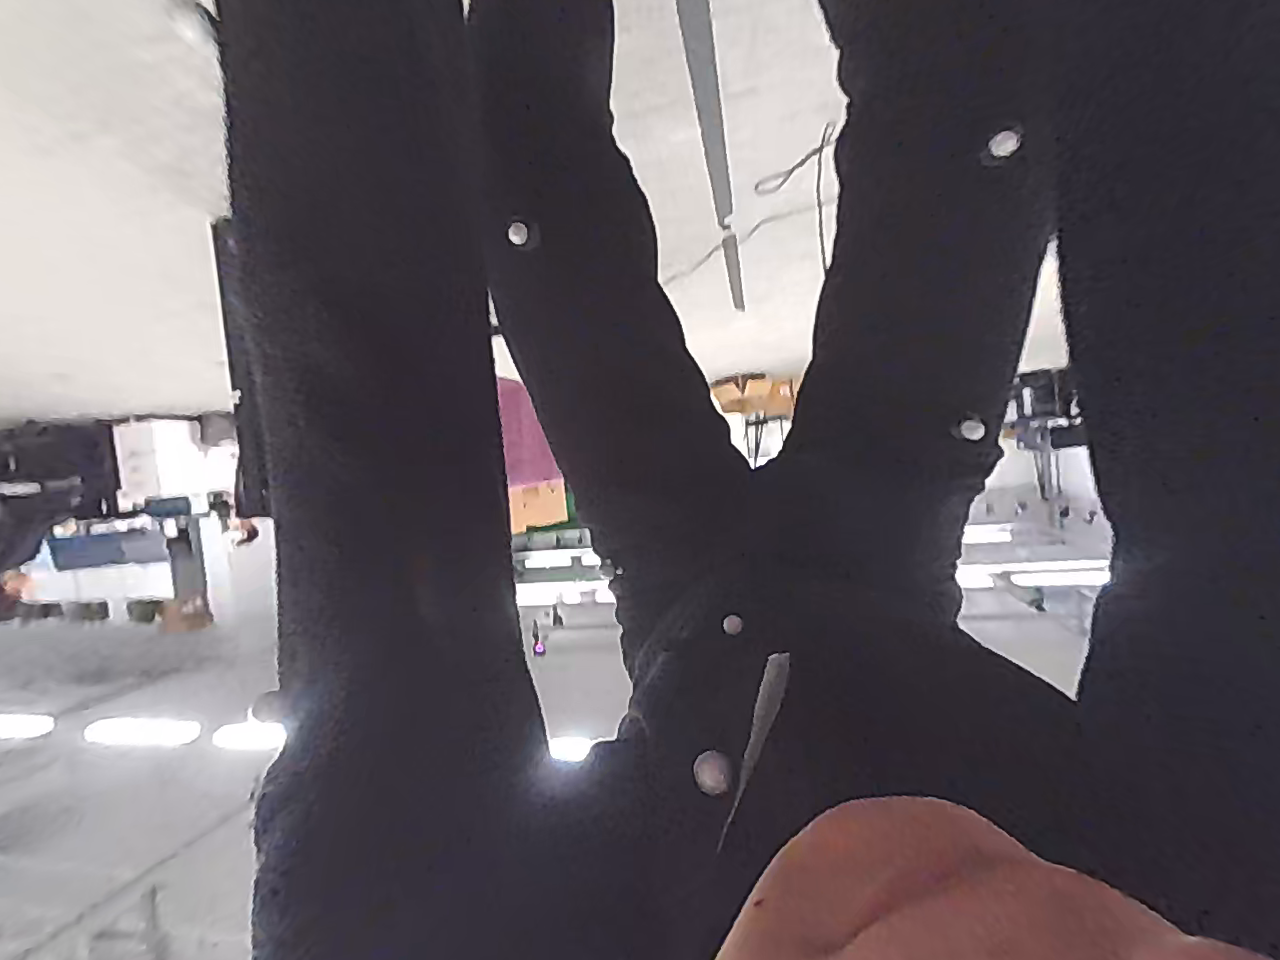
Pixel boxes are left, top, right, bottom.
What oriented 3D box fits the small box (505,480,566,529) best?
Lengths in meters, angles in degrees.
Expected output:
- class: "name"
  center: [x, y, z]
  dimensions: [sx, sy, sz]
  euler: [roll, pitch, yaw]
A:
- class: "small box"
  center: [-0.411, 0.093, 2.113]
  dimensions: [0.179, 0.176, 0.168]
  euler: [-6, -178, 27]
